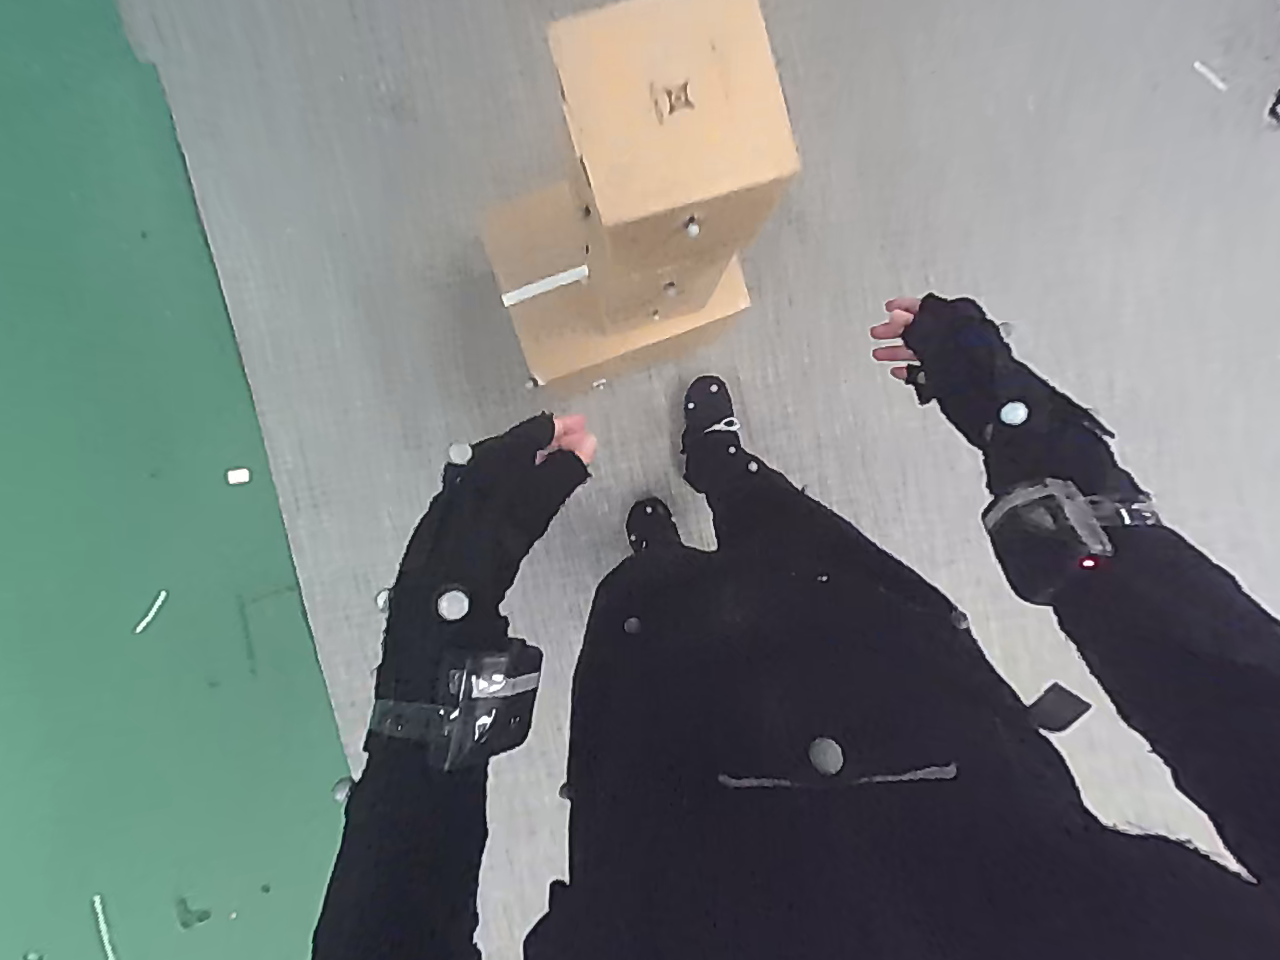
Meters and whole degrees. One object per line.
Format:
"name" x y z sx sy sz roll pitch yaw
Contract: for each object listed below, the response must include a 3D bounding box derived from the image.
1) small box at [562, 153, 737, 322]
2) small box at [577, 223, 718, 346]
"small box" 0.011 -0.318 0.701 0.168 0.176 0.179 -18 94 0
"small box" 0.010 -0.327 0.864 0.179 0.176 0.168 -16 93 0
